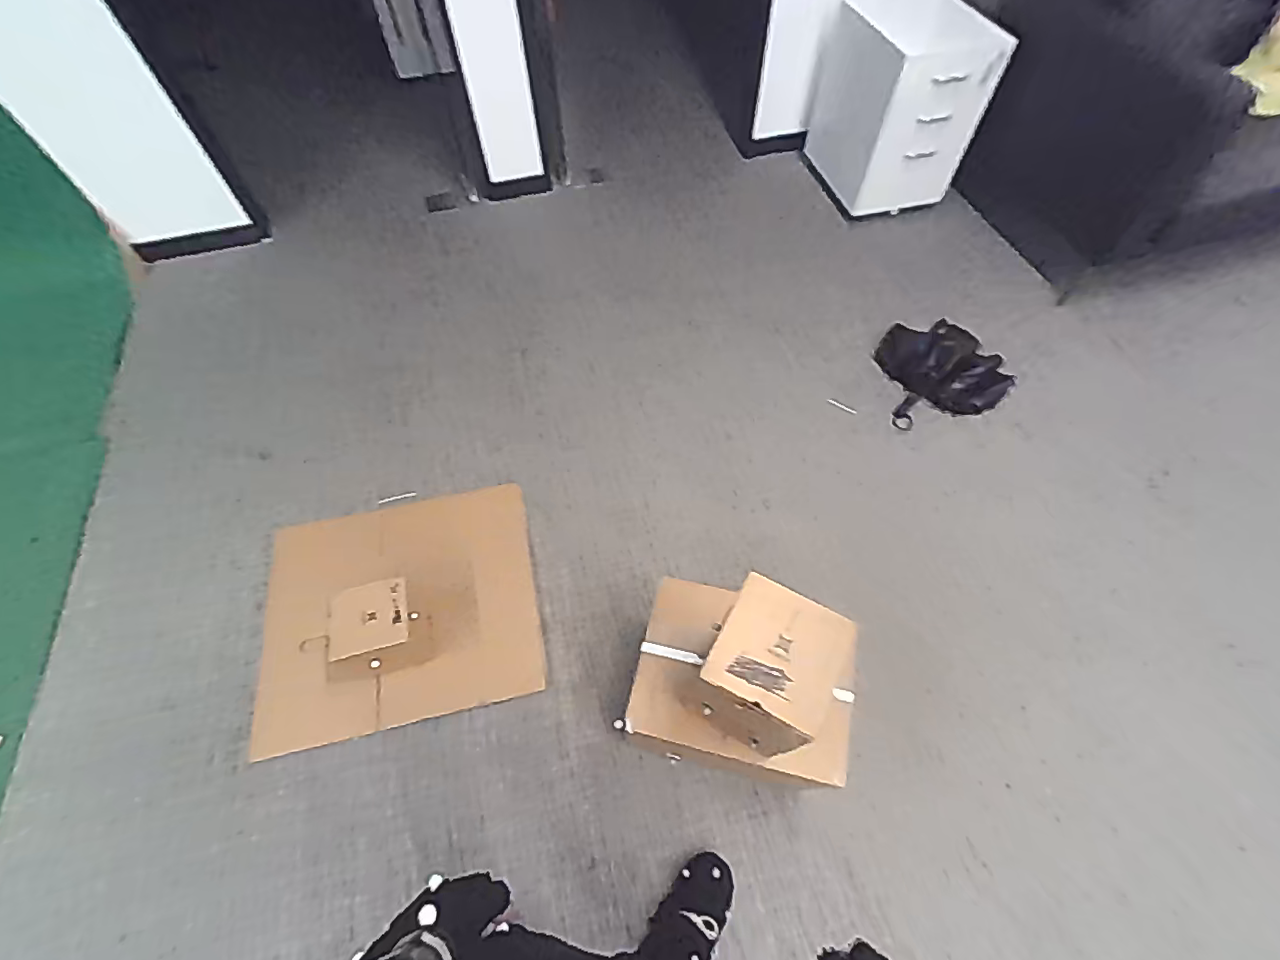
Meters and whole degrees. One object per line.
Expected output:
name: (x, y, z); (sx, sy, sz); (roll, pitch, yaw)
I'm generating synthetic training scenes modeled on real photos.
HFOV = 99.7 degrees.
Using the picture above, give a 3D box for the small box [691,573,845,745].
small box: (0.184, 0.276, 0.816); (0.168, 0.176, 0.179); (23, 62, 14)

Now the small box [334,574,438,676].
small box: (-0.615, 0.358, 1.316); (0.179, 0.176, 0.168); (-16, 57, -8)

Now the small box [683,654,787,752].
small box: (0.189, 0.359, 0.958); (0.179, 0.176, 0.168); (25, 61, 16)
